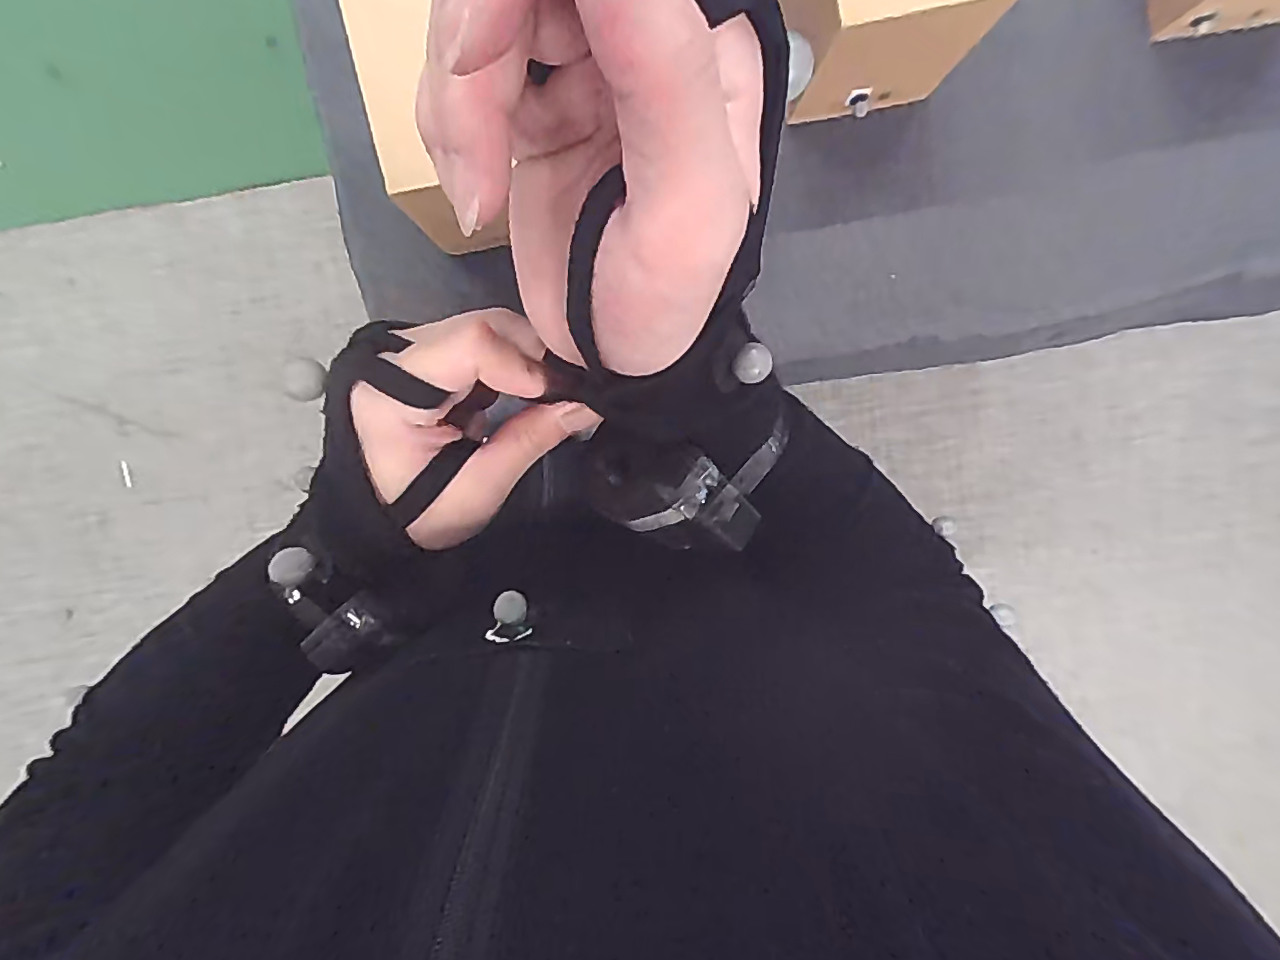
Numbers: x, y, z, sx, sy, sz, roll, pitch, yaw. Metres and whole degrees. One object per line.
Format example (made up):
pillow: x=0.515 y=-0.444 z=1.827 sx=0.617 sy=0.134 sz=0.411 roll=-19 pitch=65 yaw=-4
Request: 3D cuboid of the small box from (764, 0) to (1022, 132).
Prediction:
small box: x=0.228 y=-0.485 z=0.528 sx=0.168 sy=0.176 sz=0.179 roll=-12 pitch=98 yaw=1

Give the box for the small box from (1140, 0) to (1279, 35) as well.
small box: x=0.639 y=-0.580 z=0.527 sx=0.168 sy=0.176 sz=0.179 roll=-9 pitch=96 yaw=-1

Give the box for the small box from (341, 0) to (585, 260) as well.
small box: x=-0.154 y=-0.342 z=0.528 sx=0.168 sy=0.176 sz=0.179 roll=-12 pitch=96 yaw=0
